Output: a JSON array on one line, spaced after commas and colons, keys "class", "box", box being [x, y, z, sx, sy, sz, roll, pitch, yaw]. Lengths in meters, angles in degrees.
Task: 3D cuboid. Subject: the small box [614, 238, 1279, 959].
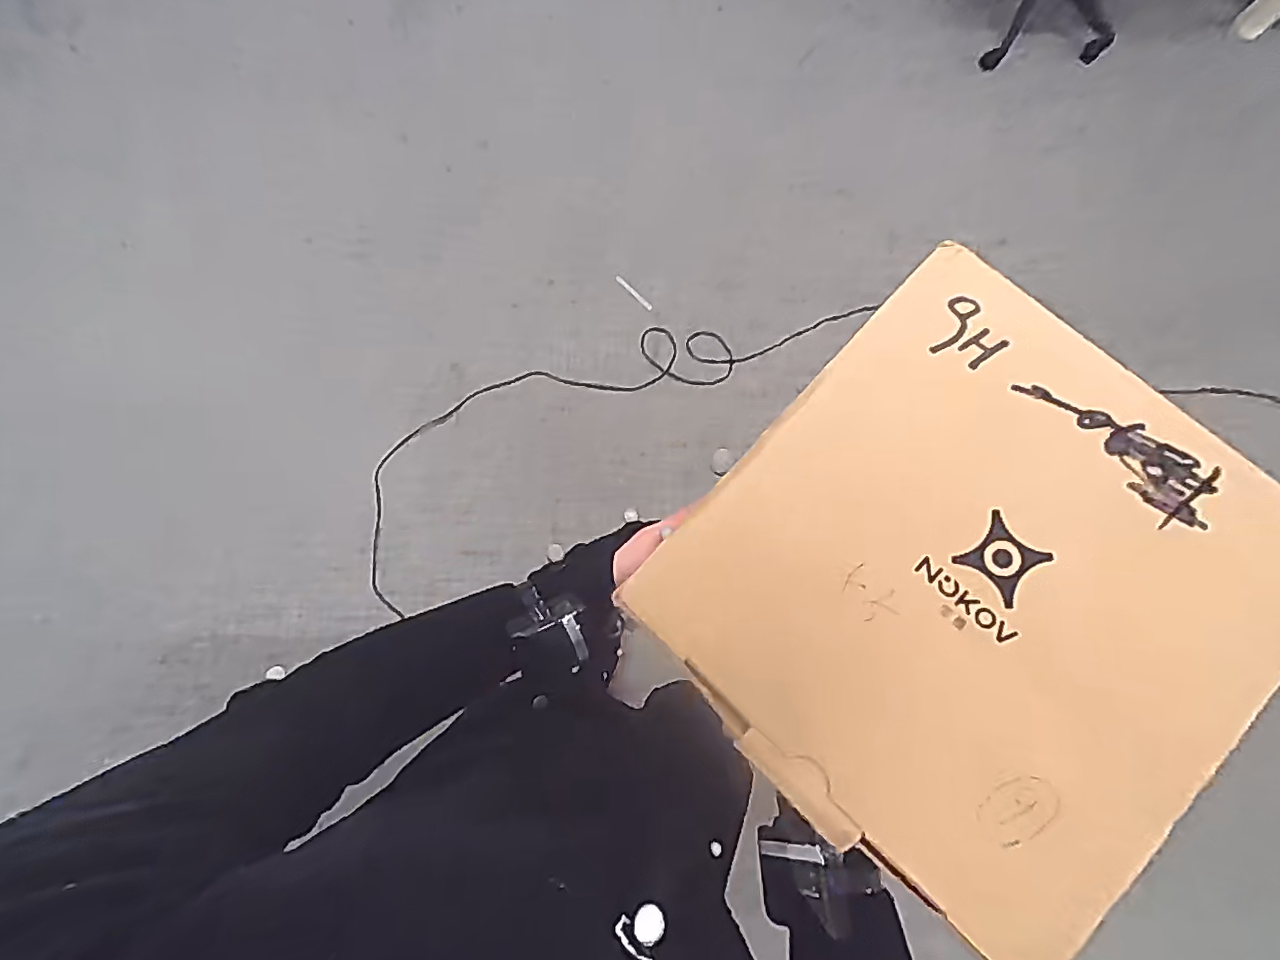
[{"class": "small box", "box": [0.113, 0.042, 0.250, 0.168, 0.176, 0.179, 43, 86, 8]}]
